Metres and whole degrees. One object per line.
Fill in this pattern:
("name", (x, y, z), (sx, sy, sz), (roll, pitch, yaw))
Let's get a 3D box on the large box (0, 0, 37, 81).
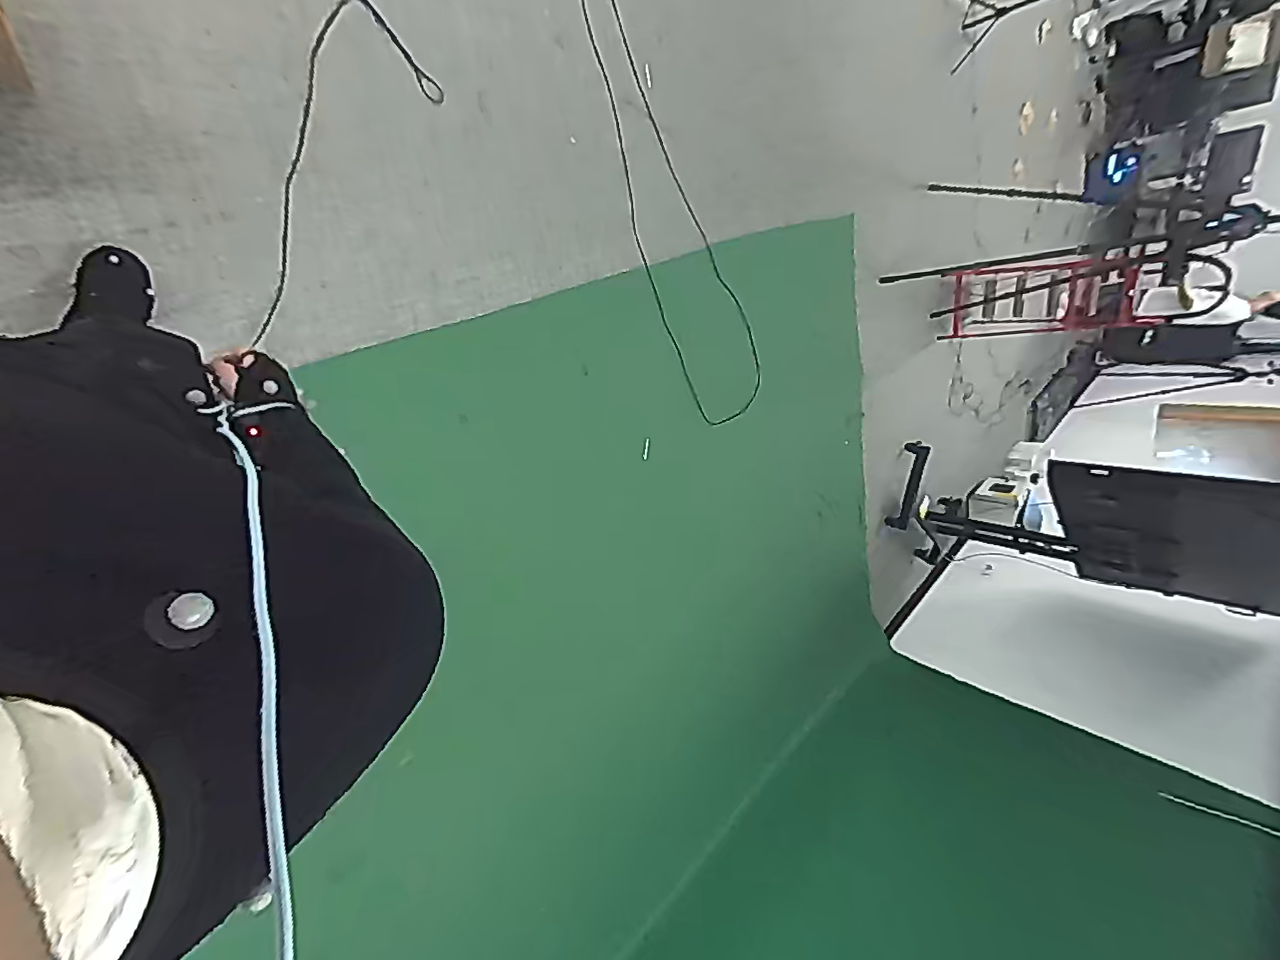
("large box", (-1.220, -0.820, 0.762), (0.408, 0.320, 0.320), (-19, 111, -37))
